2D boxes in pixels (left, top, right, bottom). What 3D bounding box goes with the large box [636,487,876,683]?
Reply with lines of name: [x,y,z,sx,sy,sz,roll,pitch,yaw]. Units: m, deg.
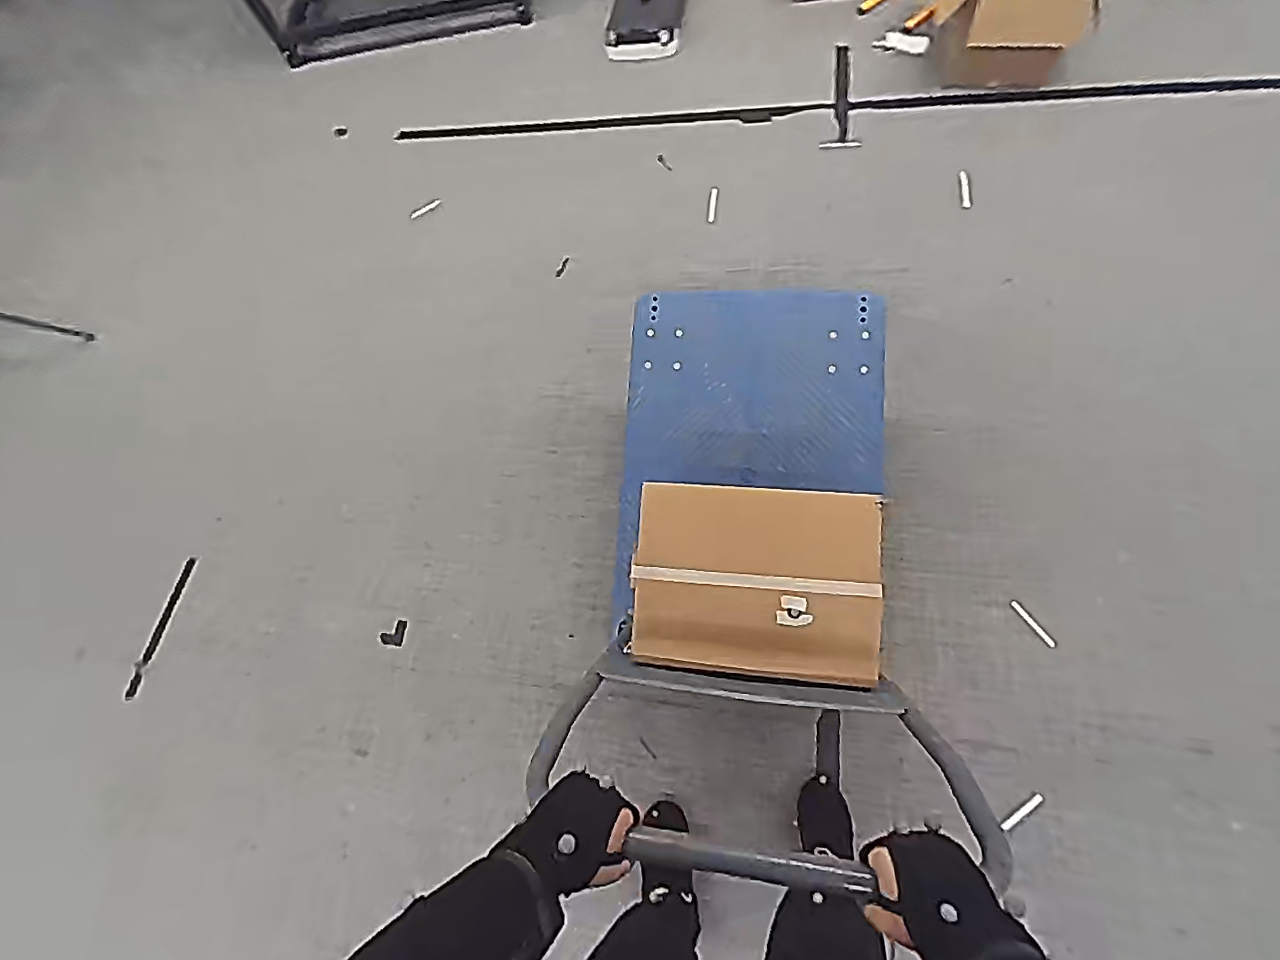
large box: [0.215,0.191,1.073,0.408,0.320,0.320,3,85,9]
